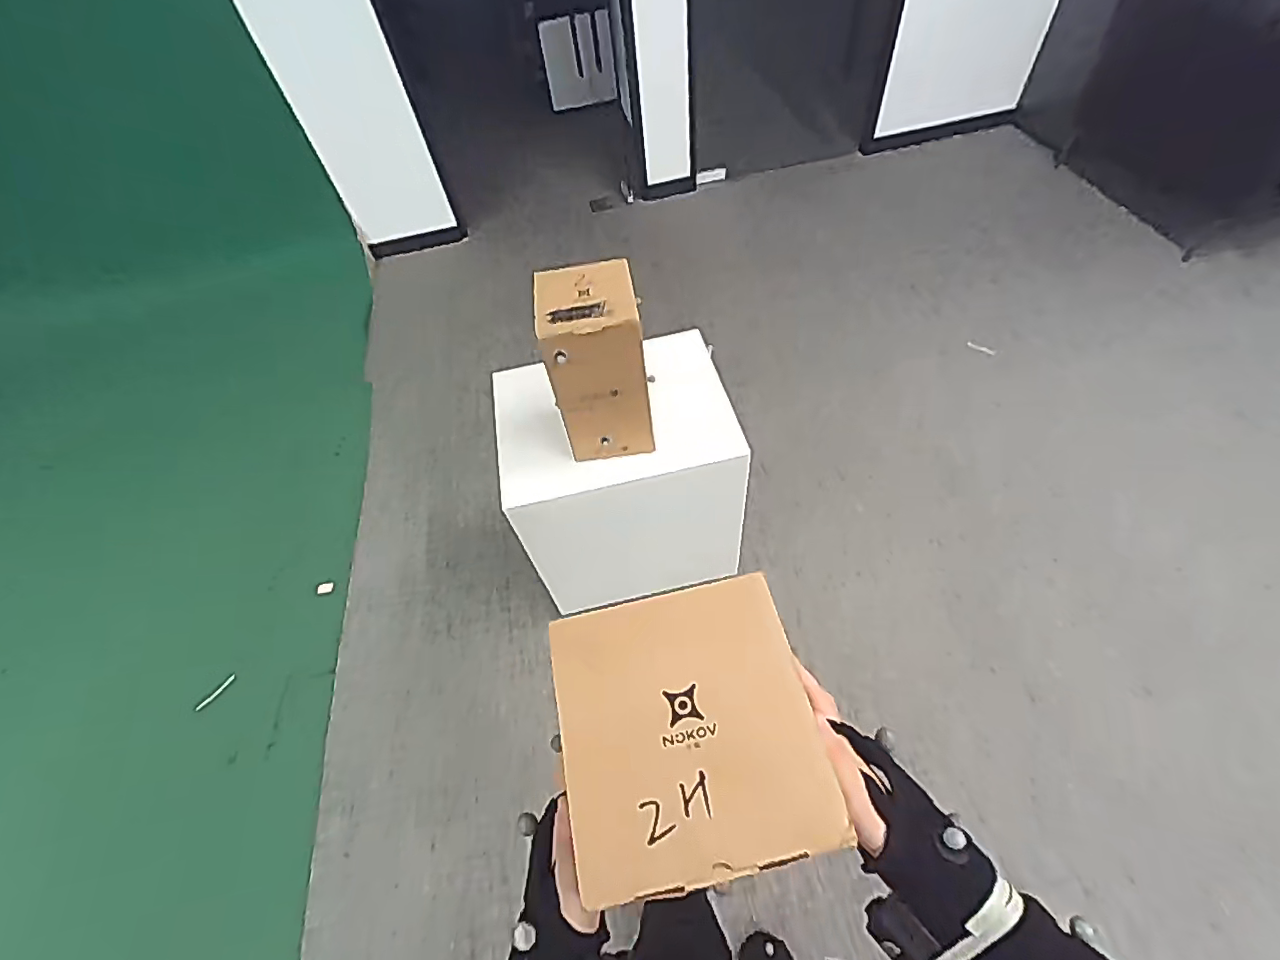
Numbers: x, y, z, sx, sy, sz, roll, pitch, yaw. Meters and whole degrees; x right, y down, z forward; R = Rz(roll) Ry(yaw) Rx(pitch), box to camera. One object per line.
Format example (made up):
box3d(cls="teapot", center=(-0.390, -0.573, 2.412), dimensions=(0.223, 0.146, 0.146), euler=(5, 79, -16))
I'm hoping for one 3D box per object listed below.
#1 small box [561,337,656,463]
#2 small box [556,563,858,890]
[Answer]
box3d(cls="small box", center=(-0.062, -0.158, 1.087), dimensions=(0.168, 0.176, 0.179), euler=(-8, 54, 1))
box3d(cls="small box", center=(0.039, 0.192, 0.422), dimensions=(0.168, 0.176, 0.179), euler=(-13, 57, -1))
